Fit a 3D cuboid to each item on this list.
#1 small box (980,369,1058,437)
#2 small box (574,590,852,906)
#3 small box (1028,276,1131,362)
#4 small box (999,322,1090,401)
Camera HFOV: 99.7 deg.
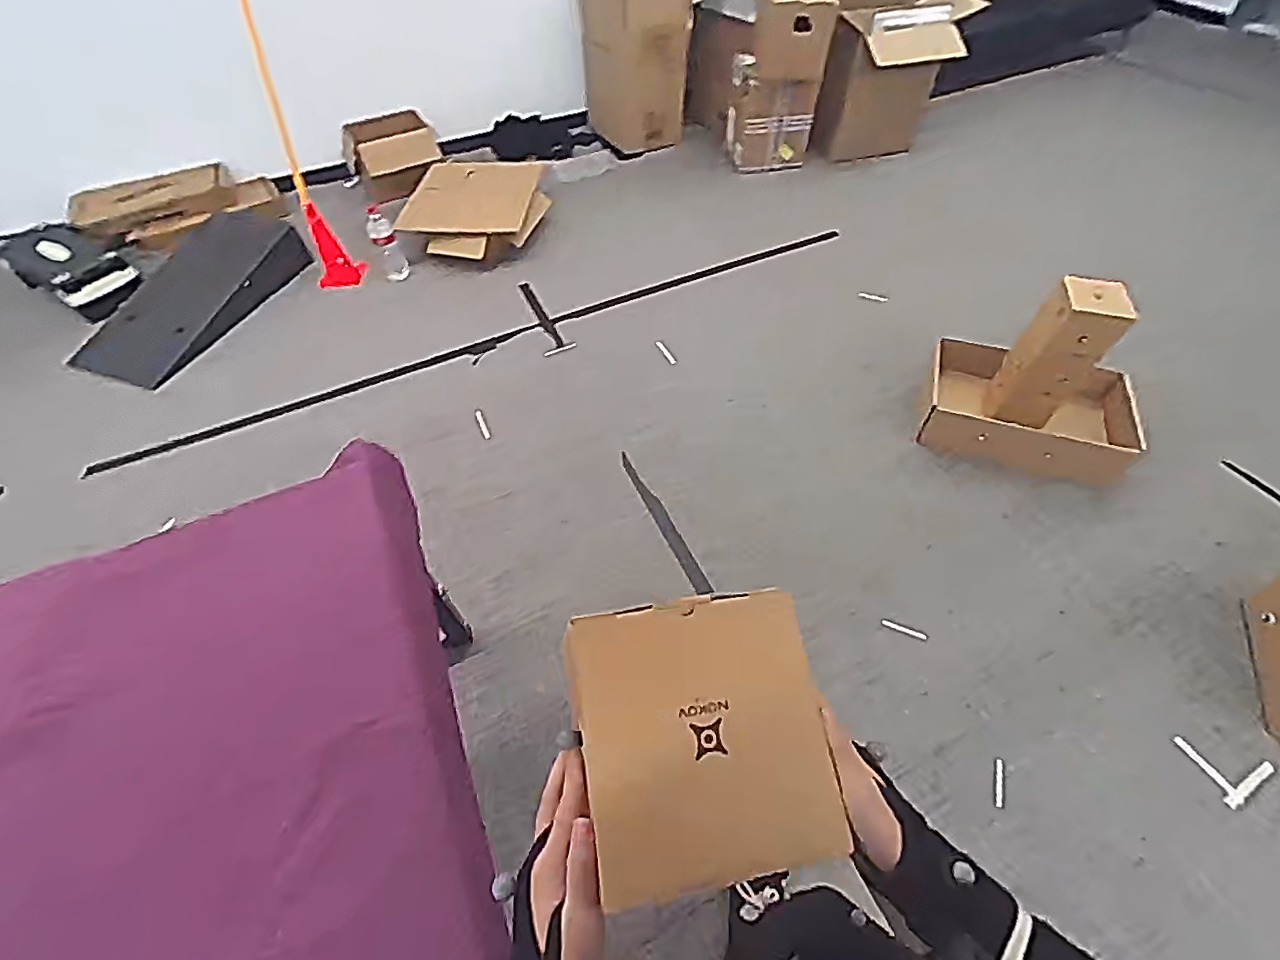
[{"bbox_3d":[1.304,-0.278,1.873,0.168,0.176,0.179,16,56,13],"label":"small box"},{"bbox_3d":[0.037,0.199,0.440,0.168,0.176,0.179,-5,68,-11],"label":"small box"},{"bbox_3d":[1.299,-0.476,1.612,0.168,0.176,0.179,13,55,9],"label":"small box"},{"bbox_3d":[1.297,-0.379,1.746,0.168,0.176,0.179,13,53,9],"label":"small box"}]
